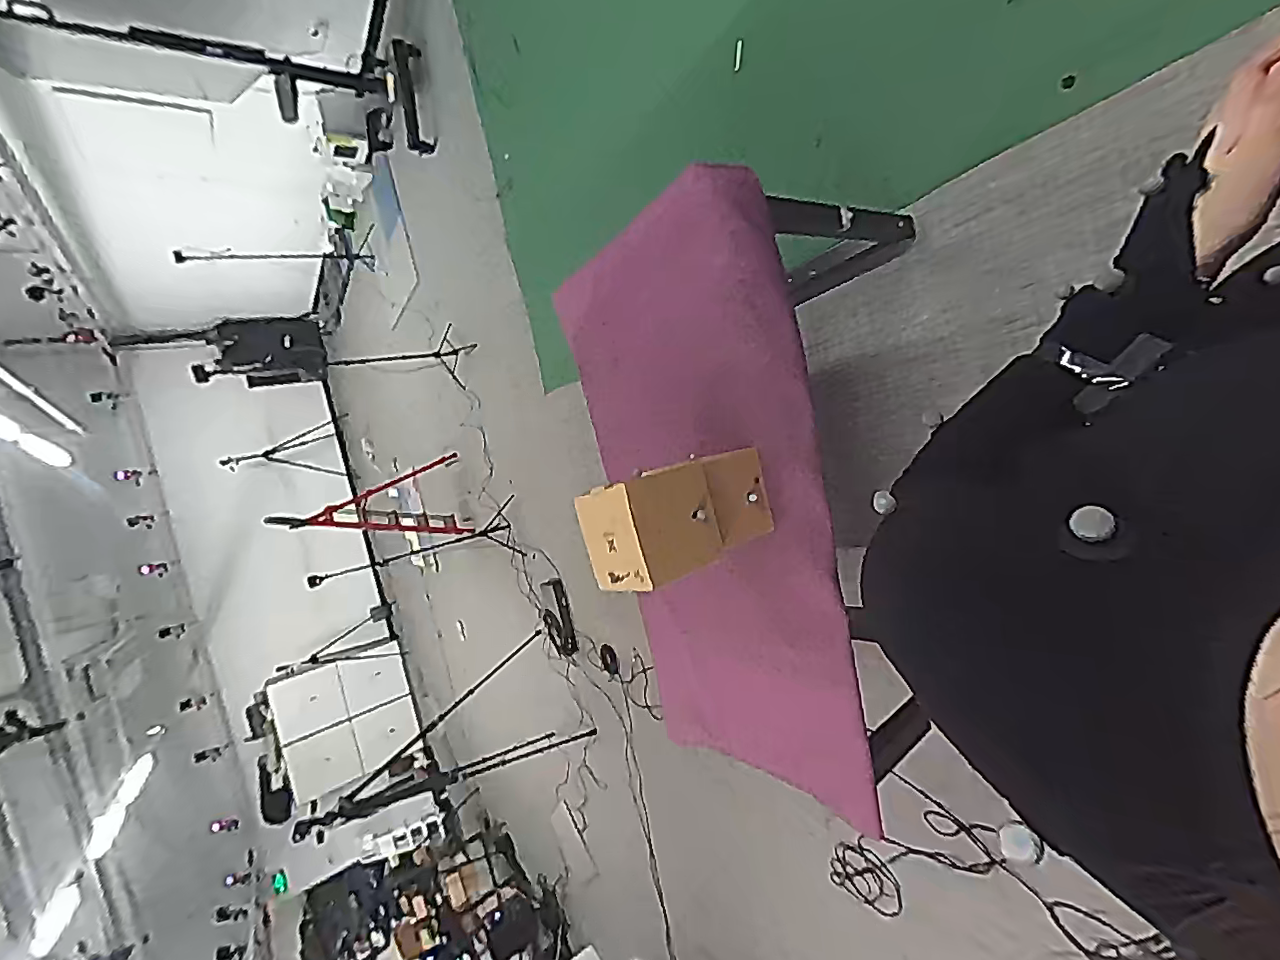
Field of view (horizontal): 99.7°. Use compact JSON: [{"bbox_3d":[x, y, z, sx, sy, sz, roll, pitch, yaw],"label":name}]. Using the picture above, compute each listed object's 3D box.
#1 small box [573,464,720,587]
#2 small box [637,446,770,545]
[{"bbox_3d":[0.012,0.075,0.936,0.168,0.176,0.179,-15,90,54],"label":"small box"},{"bbox_3d":[0.123,0.036,1.053,0.179,0.176,0.168,-9,95,54],"label":"small box"}]
